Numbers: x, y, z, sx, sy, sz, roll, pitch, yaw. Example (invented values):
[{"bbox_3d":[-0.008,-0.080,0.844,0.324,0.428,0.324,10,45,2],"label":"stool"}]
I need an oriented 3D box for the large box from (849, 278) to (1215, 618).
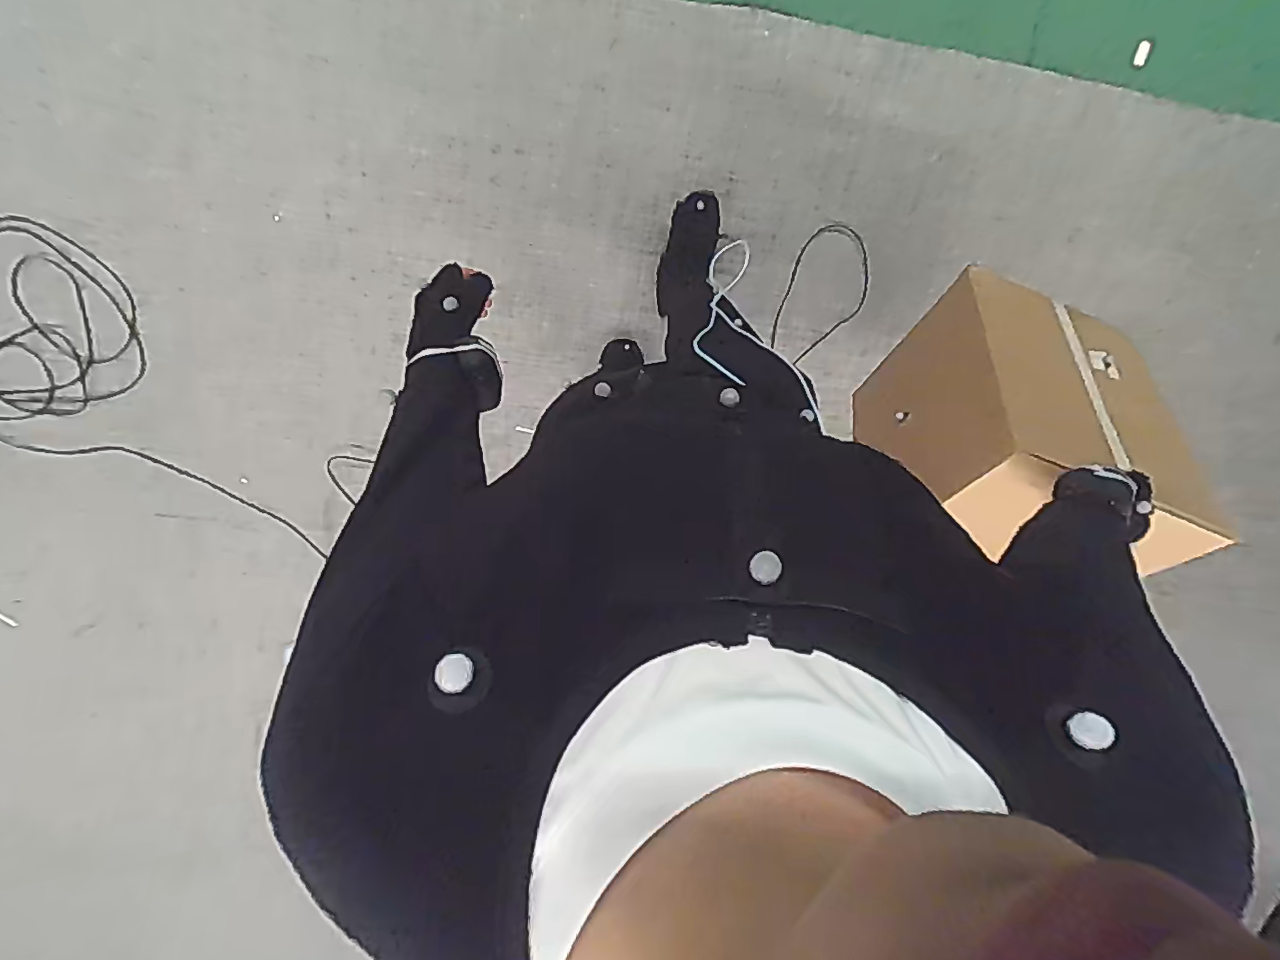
[{"bbox_3d":[0.571,-0.045,0.890,0.320,0.408,0.320,21,142,-6],"label":"large box"}]
